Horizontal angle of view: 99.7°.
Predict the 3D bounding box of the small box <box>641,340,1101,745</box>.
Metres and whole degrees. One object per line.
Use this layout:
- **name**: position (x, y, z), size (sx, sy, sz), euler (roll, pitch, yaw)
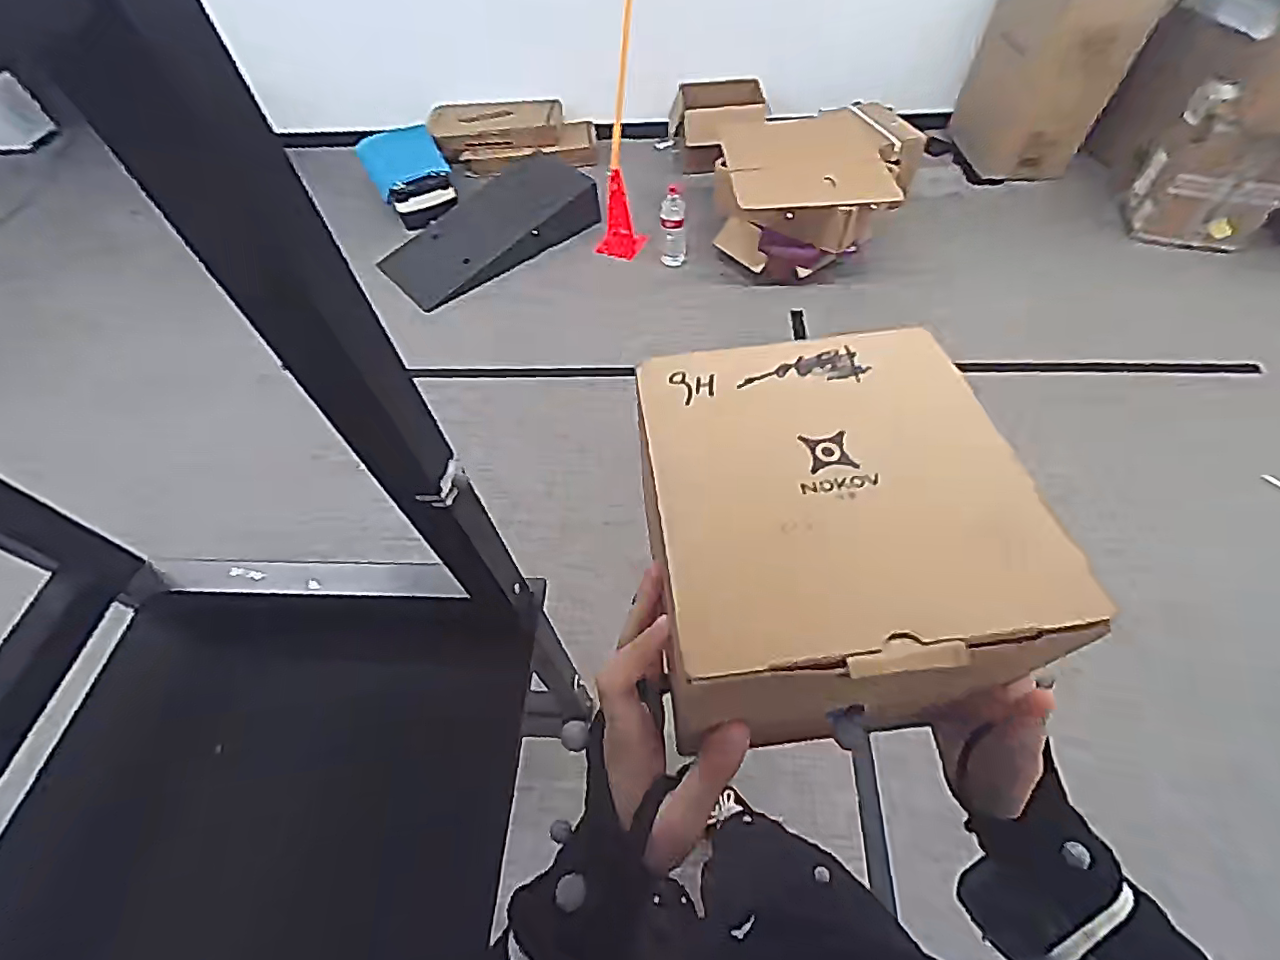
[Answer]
- **small box**: position (0.093, 0.047, 0.317), size (0.168, 0.176, 0.179), euler (-6, 55, -1)
